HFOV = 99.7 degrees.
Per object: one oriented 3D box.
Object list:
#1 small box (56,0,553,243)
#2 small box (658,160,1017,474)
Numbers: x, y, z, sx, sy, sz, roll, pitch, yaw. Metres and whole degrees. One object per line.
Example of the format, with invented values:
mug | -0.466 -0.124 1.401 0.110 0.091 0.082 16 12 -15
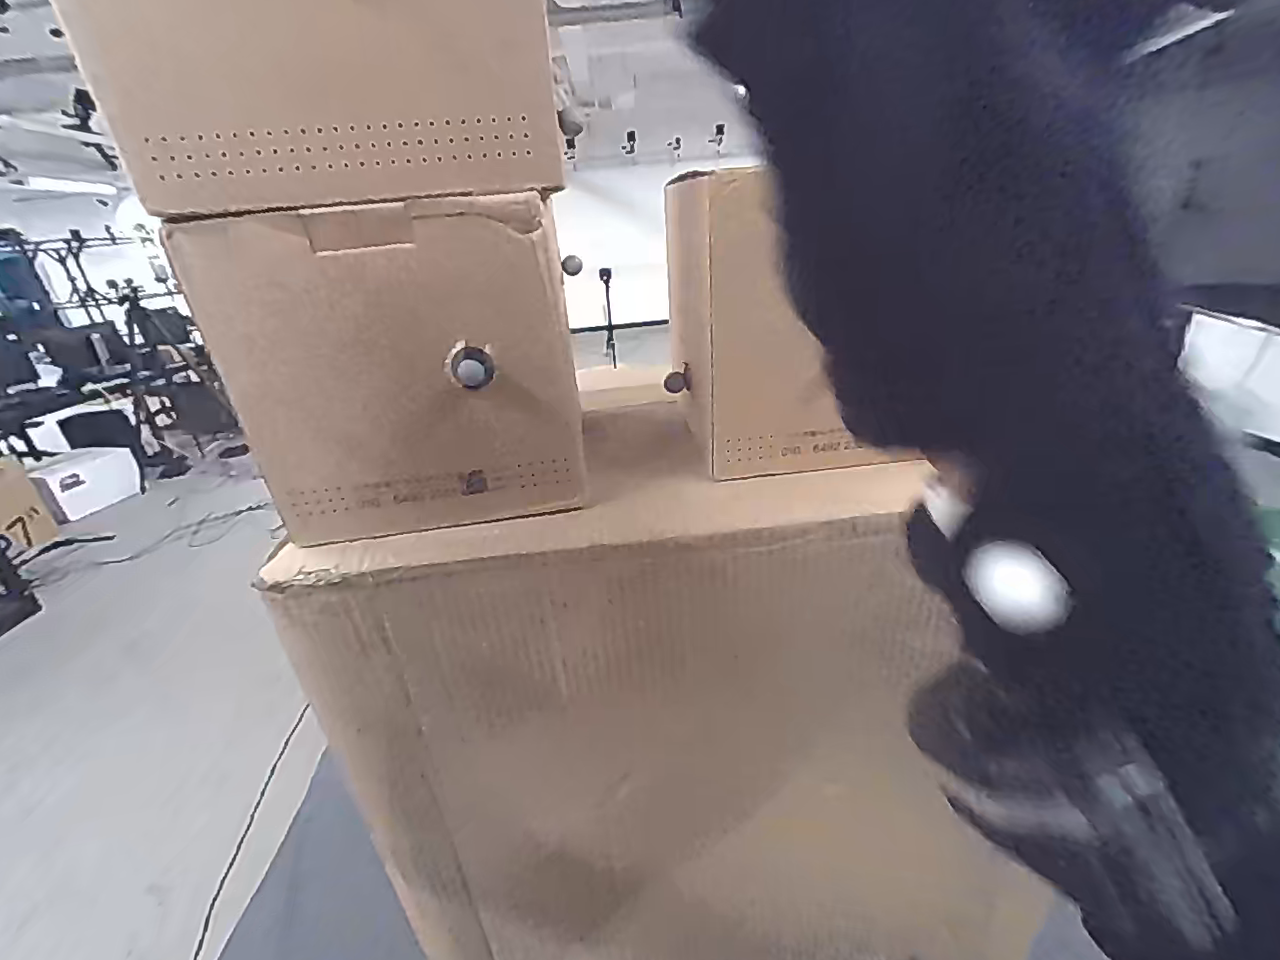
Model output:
small box | -0.140 -0.220 0.270 0.179 0.176 0.168 -9 28 -12
small box | 0.107 -0.111 0.372 0.168 0.176 0.179 -6 27 -2
